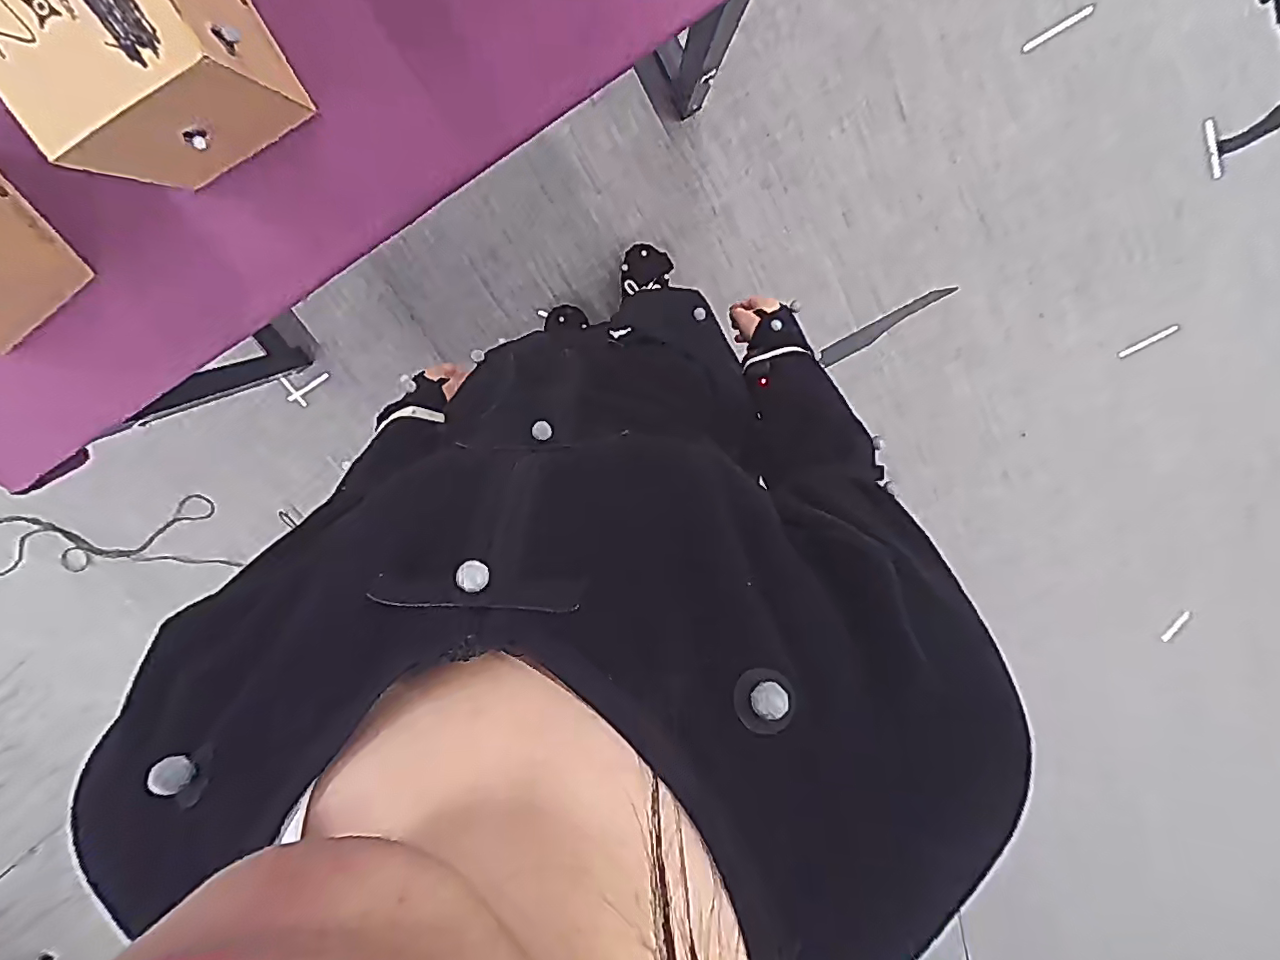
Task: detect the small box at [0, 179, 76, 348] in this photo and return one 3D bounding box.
[{"bbox_3d":[-0.760,-0.238,0.554,0.179,0.176,0.168,-31,107,10],"label":"small box"}]
